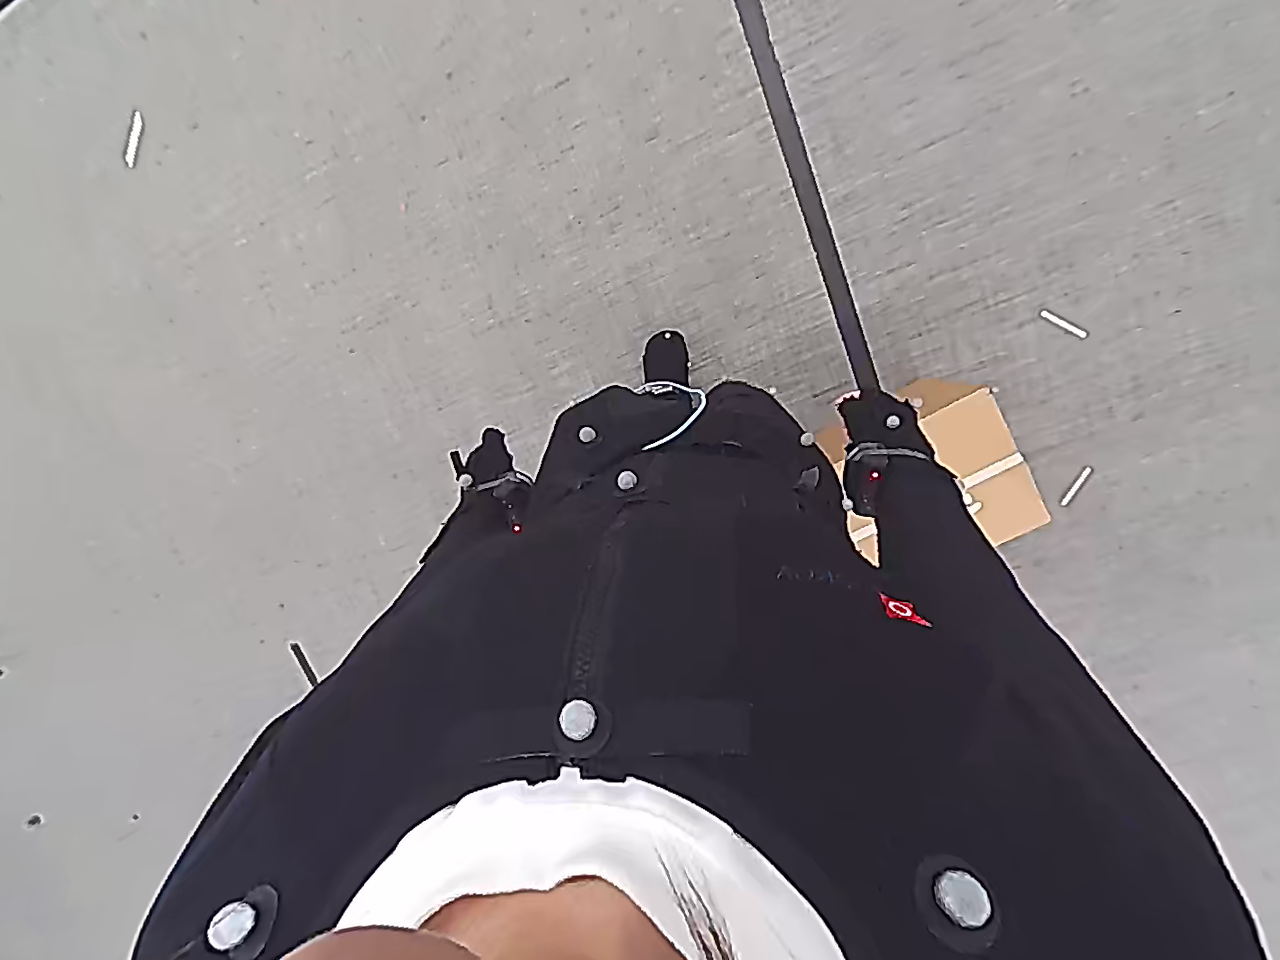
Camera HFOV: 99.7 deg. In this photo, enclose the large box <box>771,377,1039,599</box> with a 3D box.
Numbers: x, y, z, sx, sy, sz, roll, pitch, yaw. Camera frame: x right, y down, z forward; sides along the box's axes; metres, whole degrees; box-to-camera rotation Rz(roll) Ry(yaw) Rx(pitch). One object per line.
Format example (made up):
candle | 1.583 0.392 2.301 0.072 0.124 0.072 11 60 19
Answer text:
large box | 0.568 0.000 1.239 0.408 0.320 0.320 -29 100 11
